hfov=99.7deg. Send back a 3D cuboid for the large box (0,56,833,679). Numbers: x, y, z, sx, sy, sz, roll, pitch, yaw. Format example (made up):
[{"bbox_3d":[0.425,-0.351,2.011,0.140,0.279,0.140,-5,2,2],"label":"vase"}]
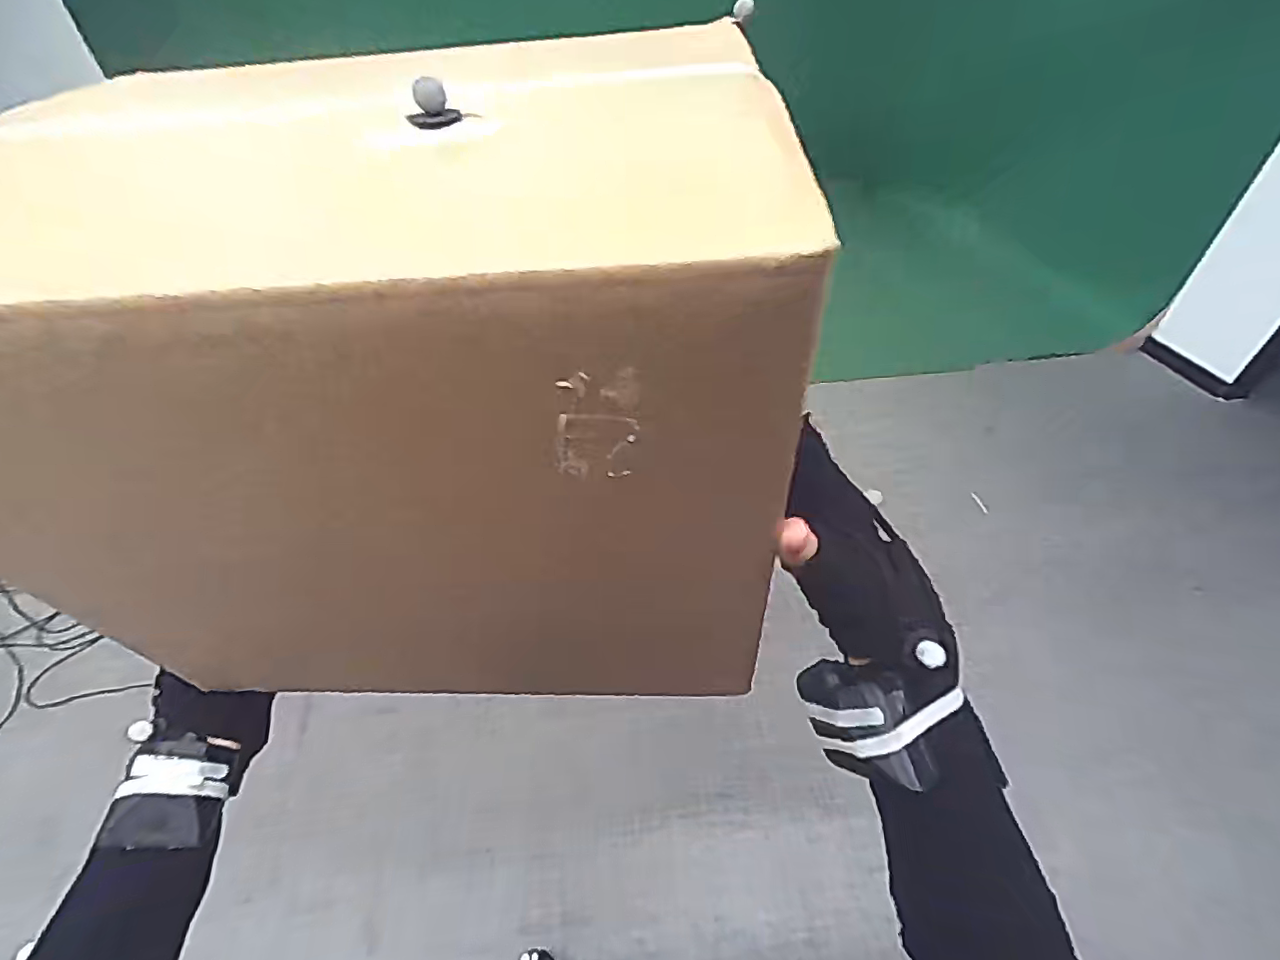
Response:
[{"bbox_3d":[-0.124,-0.068,0.385,0.408,0.320,0.320,-1,49,4],"label":"large box"}]
